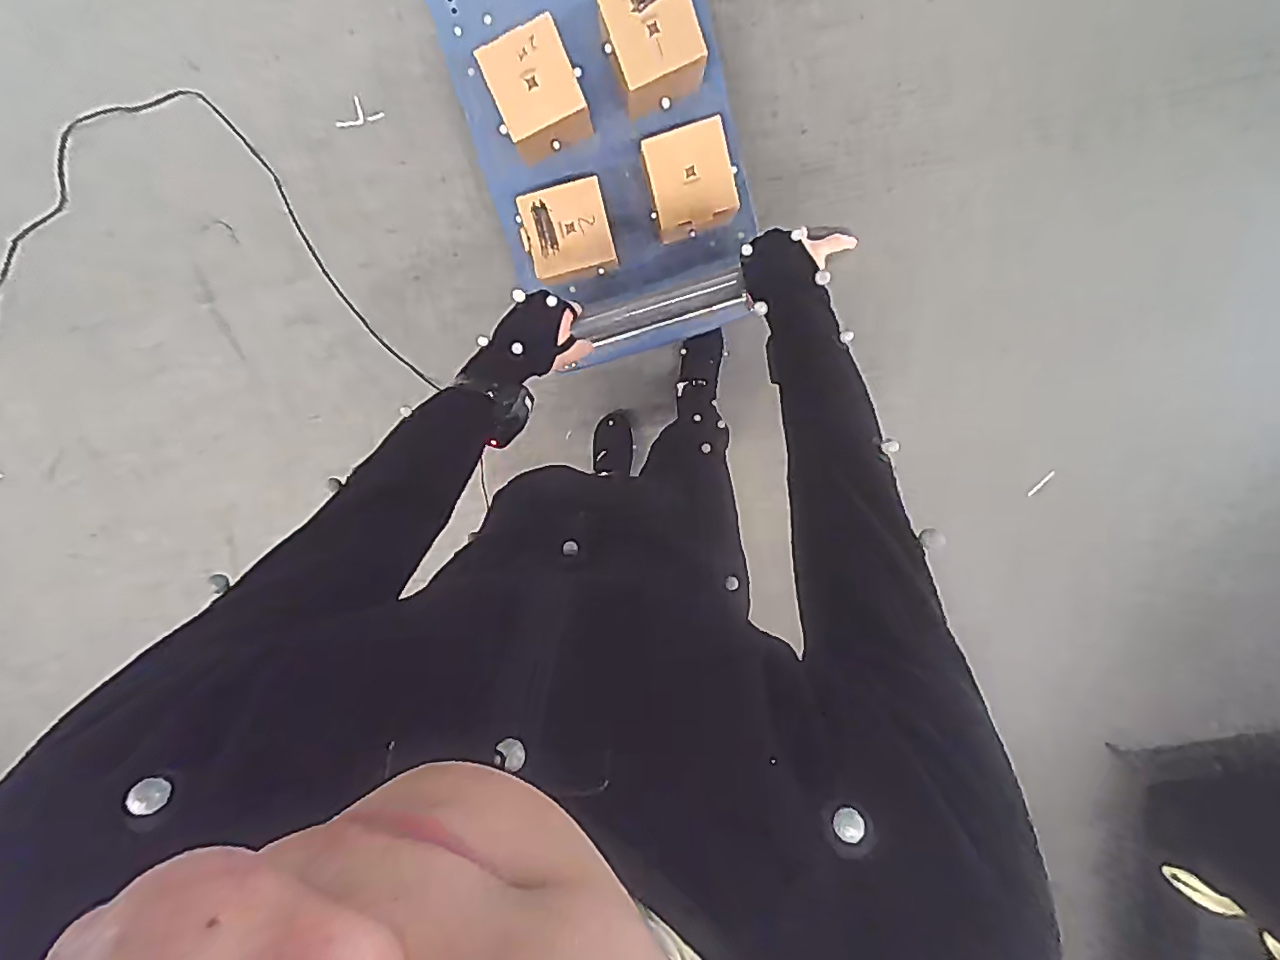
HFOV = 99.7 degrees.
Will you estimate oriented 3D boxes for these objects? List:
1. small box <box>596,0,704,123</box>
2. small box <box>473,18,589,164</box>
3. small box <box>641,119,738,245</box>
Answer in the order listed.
[{"bbox_3d":[0.019,-0.883,1.110,0.168,0.176,0.179,-21,104,6],"label":"small box"},{"bbox_3d":[-0.217,-0.795,1.134,0.168,0.176,0.179,-23,103,5],"label":"small box"},{"bbox_3d":[0.100,-0.636,1.176,0.168,0.176,0.179,-16,104,4],"label":"small box"}]
